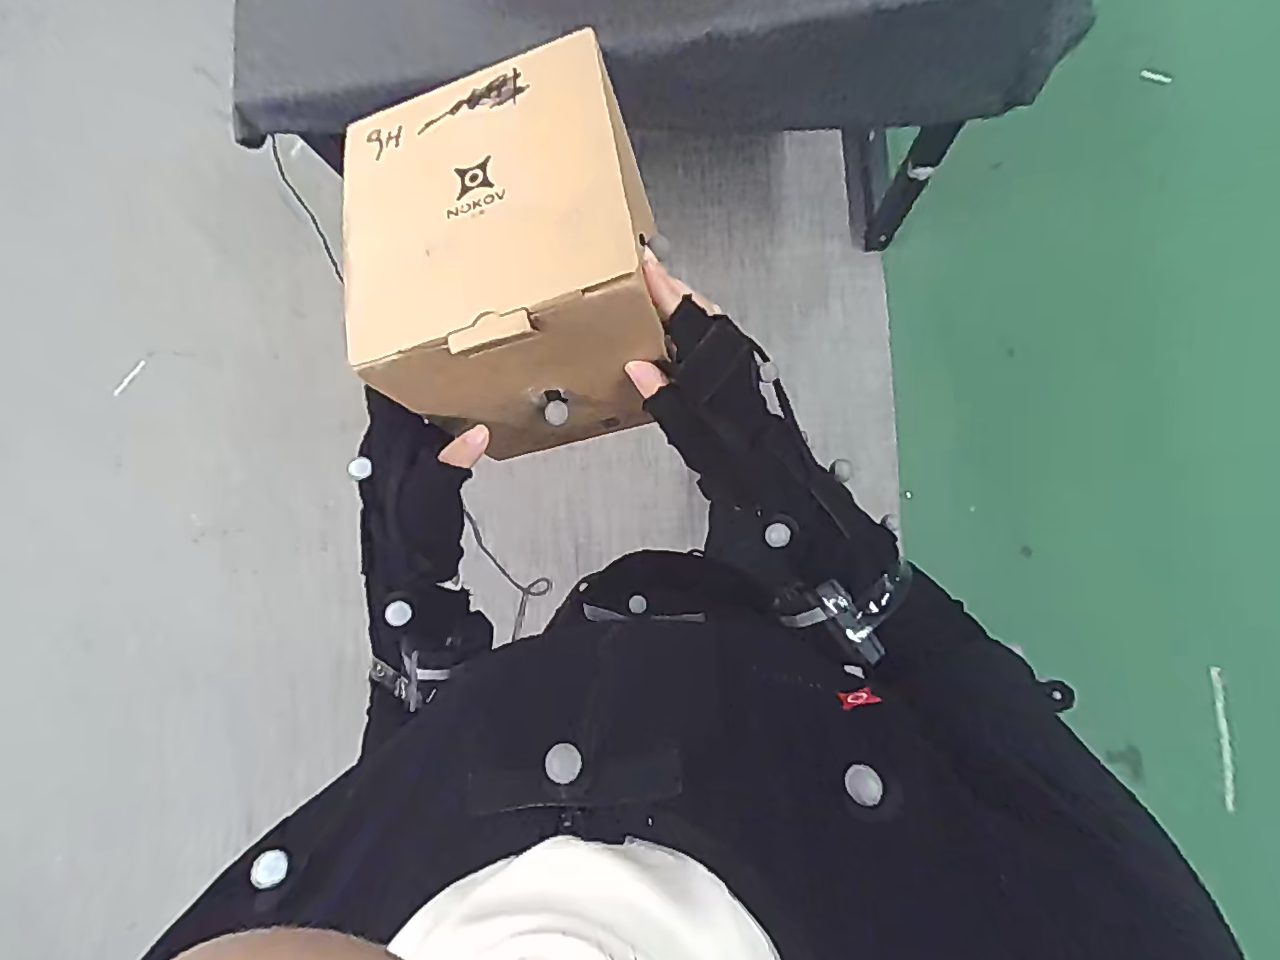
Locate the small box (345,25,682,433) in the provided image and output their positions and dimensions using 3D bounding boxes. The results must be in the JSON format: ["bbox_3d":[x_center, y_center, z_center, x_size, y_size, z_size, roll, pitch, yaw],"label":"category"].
[{"bbox_3d":[-0.074,-0.144,0.378,0.168,0.176,0.179,-13,73,11],"label":"small box"}]
